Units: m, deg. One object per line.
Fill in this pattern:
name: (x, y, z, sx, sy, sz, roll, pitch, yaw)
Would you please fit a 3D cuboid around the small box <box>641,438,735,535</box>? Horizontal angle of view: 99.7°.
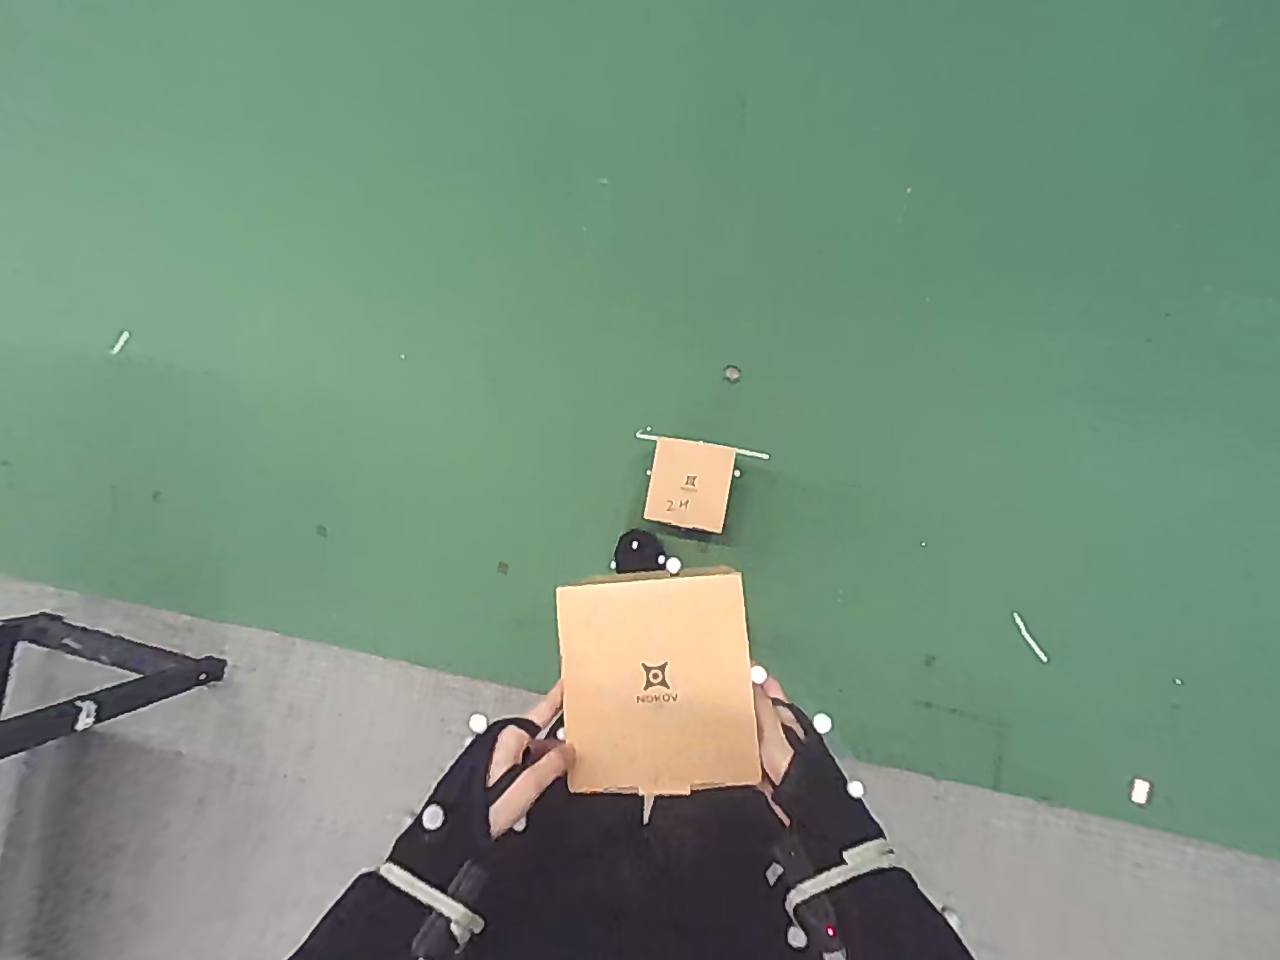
small box: (0.106, 0.017, 1.186, 0.168, 0.176, 0.179, 11, 88, 7)
